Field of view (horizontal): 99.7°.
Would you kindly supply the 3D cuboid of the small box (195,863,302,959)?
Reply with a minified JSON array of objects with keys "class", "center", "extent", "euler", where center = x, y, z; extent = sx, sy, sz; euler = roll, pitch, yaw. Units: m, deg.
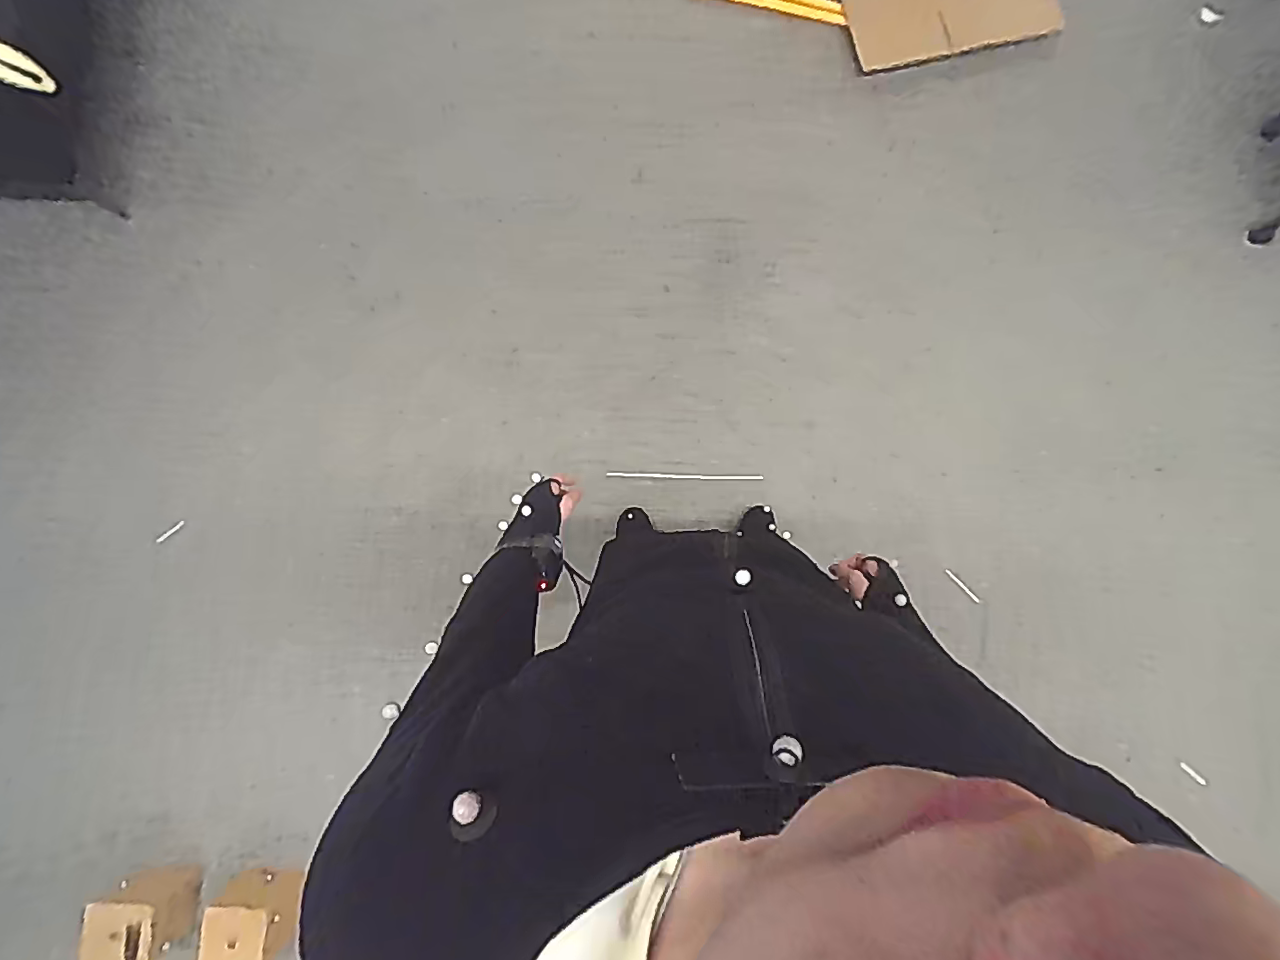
[{"class":"small box","center":[-1.059,1.195,1.475],"extent":[0.168,0.176,0.179],"euler":[5,86,0]}]
